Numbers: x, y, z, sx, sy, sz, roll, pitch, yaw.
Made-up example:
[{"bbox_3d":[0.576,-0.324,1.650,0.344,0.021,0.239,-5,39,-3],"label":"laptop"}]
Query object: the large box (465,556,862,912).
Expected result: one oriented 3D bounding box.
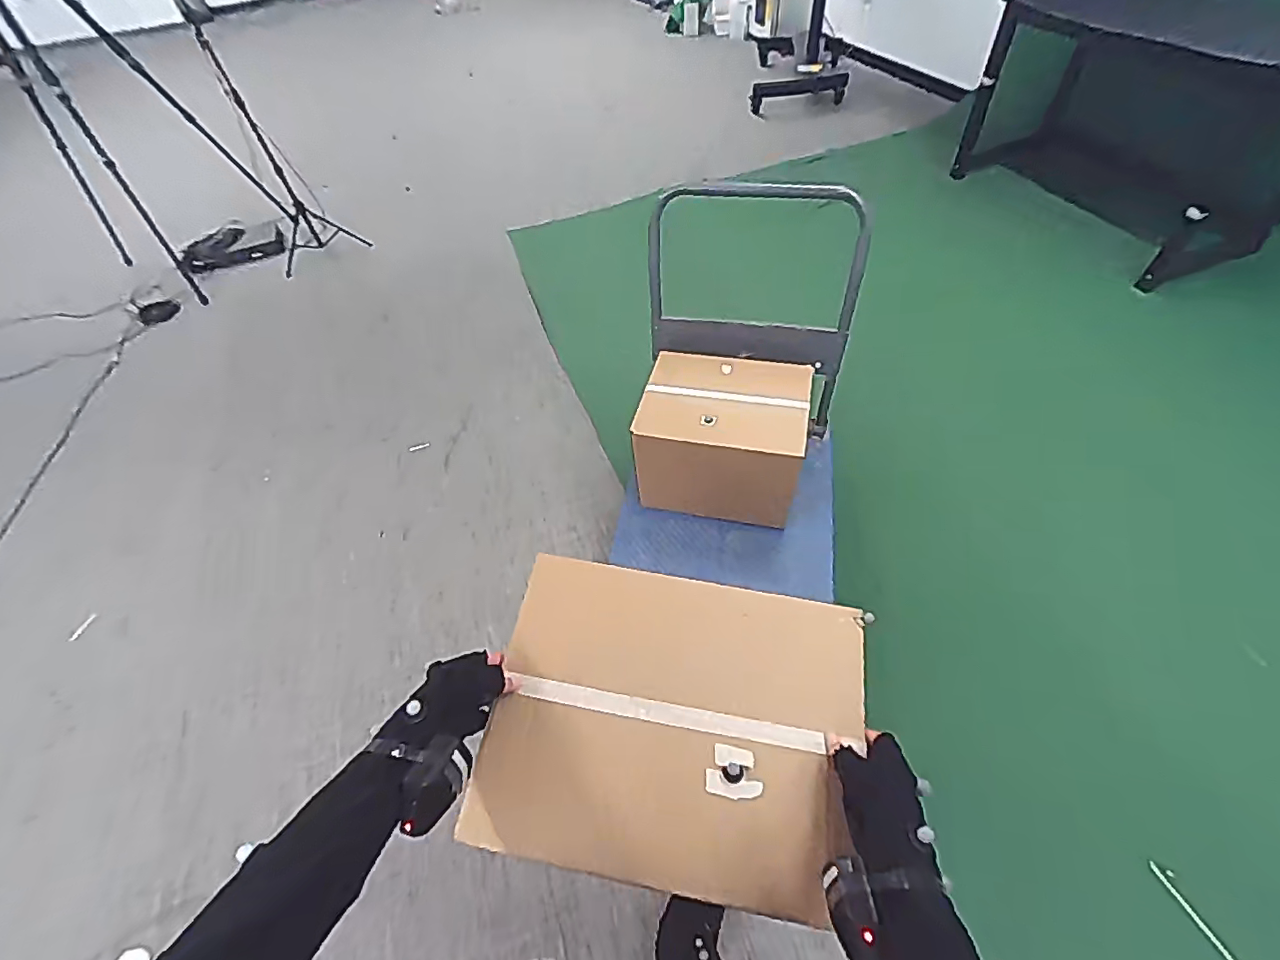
[{"bbox_3d":[0.038,0.330,0.731,0.408,0.320,0.320,9,60,5],"label":"large box"}]
